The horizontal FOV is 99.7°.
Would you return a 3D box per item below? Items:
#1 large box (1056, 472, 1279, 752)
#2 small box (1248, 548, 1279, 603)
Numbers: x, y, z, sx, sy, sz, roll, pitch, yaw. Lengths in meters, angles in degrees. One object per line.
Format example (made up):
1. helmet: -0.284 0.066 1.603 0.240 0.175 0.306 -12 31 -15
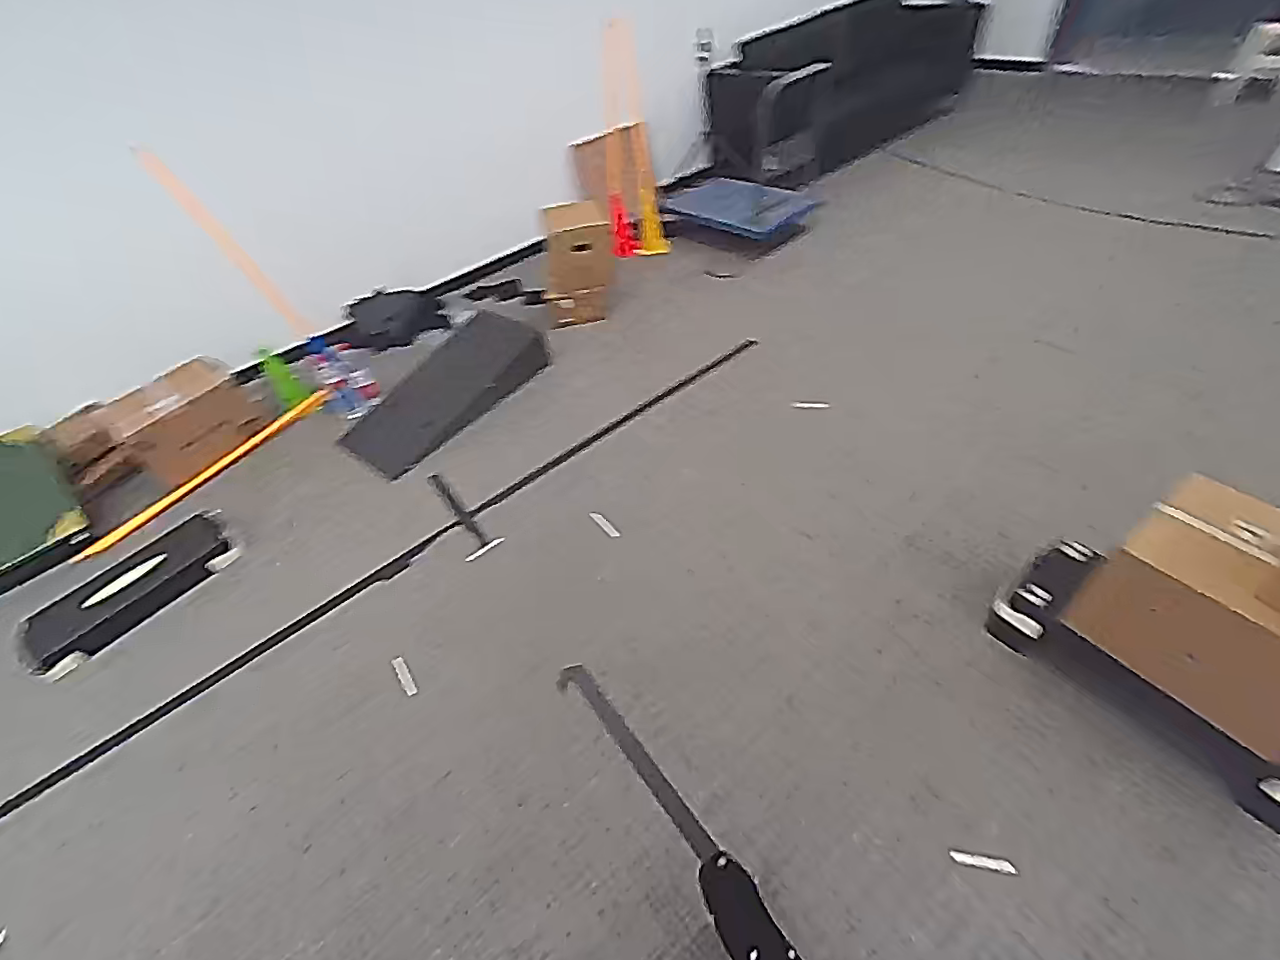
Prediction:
1. large box: 1.212 0.260 1.126 0.320 0.320 0.408 -31 47 -19
2. small box: 1.201 0.145 0.894 0.168 0.176 0.179 -30 47 -16
